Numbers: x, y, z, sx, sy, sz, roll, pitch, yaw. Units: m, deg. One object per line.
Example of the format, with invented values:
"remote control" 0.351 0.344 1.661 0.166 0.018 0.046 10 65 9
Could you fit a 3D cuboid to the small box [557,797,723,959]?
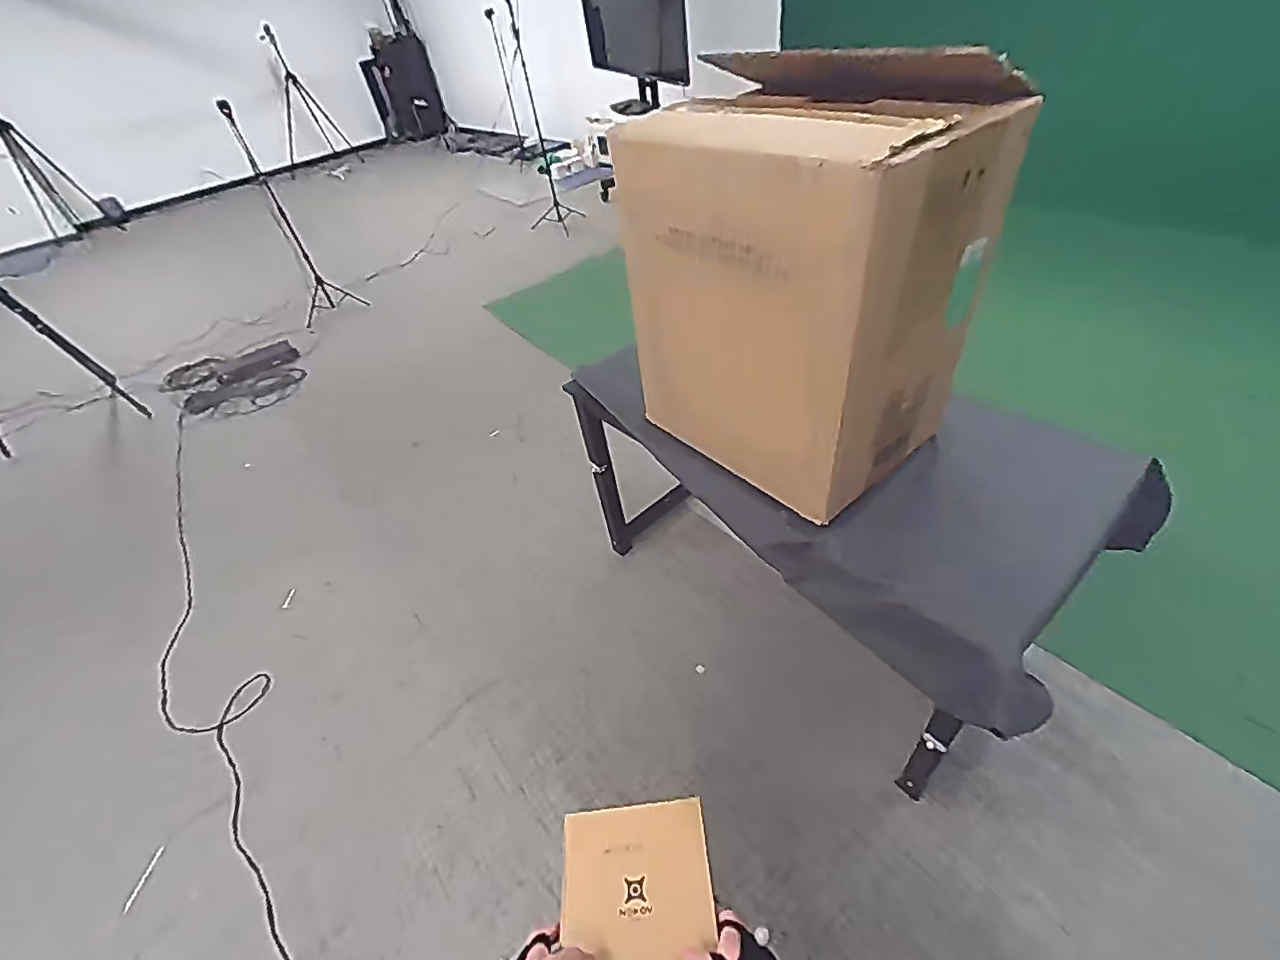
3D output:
"small box" 0.005 0.506 0.630 0.168 0.176 0.179 -9 37 1
